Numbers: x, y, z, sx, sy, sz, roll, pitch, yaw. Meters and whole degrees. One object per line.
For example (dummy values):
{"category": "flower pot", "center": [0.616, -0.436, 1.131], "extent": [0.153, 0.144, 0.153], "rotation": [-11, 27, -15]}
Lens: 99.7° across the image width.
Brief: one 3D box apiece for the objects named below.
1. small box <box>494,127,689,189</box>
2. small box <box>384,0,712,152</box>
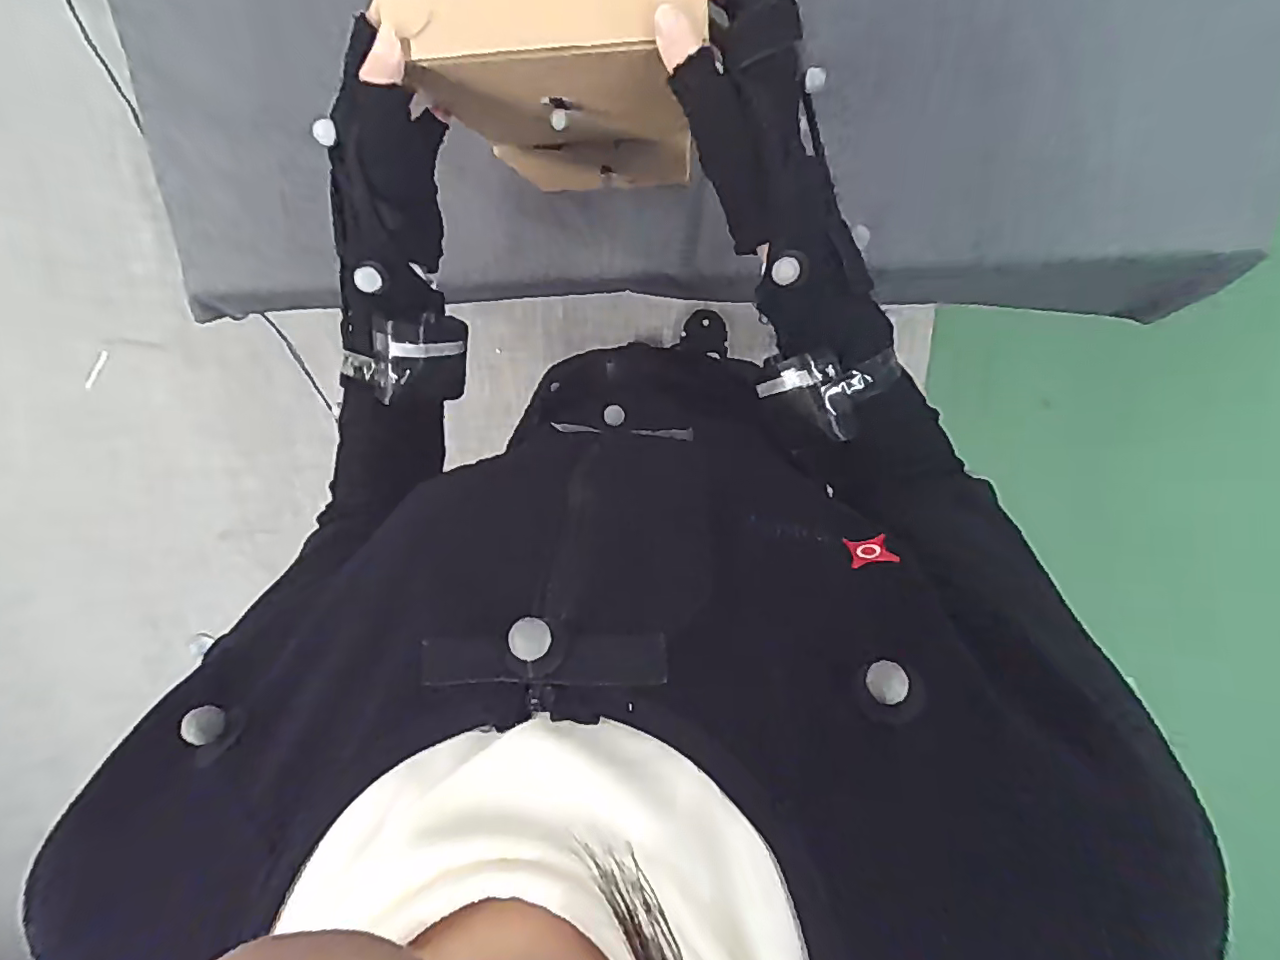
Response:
{"category": "small box", "center": [-0.039, -0.379, 0.498], "extent": [0.168, 0.176, 0.179], "rotation": [-2, 108, 5]}
{"category": "small box", "center": [-0.045, -0.324, 0.342], "extent": [0.179, 0.176, 0.168], "rotation": [0, 108, 7]}
